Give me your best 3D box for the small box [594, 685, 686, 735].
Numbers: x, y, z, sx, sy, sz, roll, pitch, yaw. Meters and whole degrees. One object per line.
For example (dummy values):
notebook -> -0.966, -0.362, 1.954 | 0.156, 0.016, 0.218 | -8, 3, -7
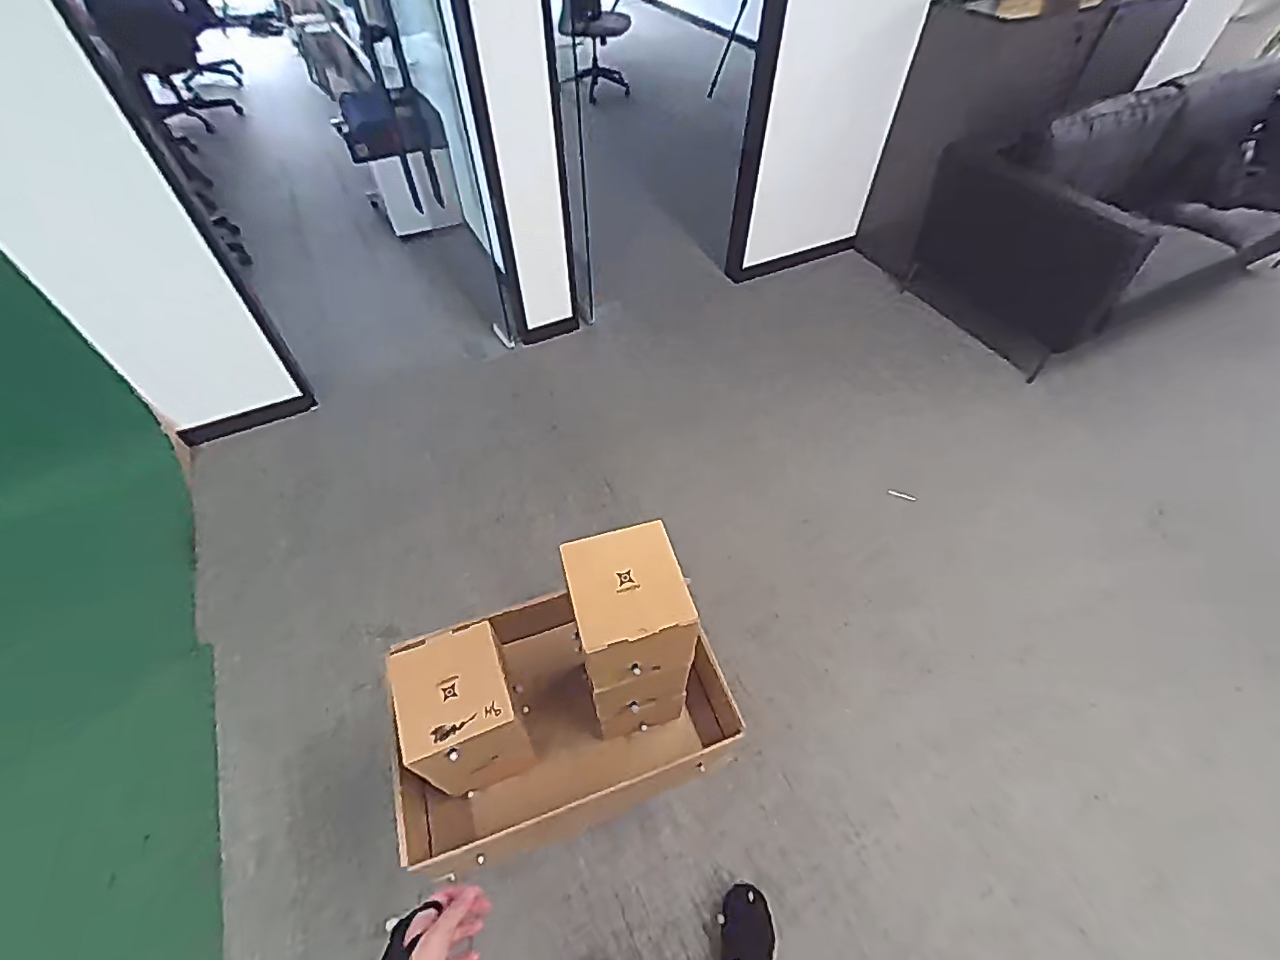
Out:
small box -> -0.018, 0.387, 1.090 | 0.168, 0.176, 0.179 | -12, 54, -10

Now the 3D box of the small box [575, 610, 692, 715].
small box -> -0.019, 0.289, 0.961 | 0.168, 0.176, 0.179 | -13, 54, -11

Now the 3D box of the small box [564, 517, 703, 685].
small box -> -0.015, 0.187, 0.834 | 0.168, 0.176, 0.179 | -13, 54, -10

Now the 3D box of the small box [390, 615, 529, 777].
small box -> -0.295, 0.359, 0.897 | 0.168, 0.176, 0.179 | -18, 54, -14
